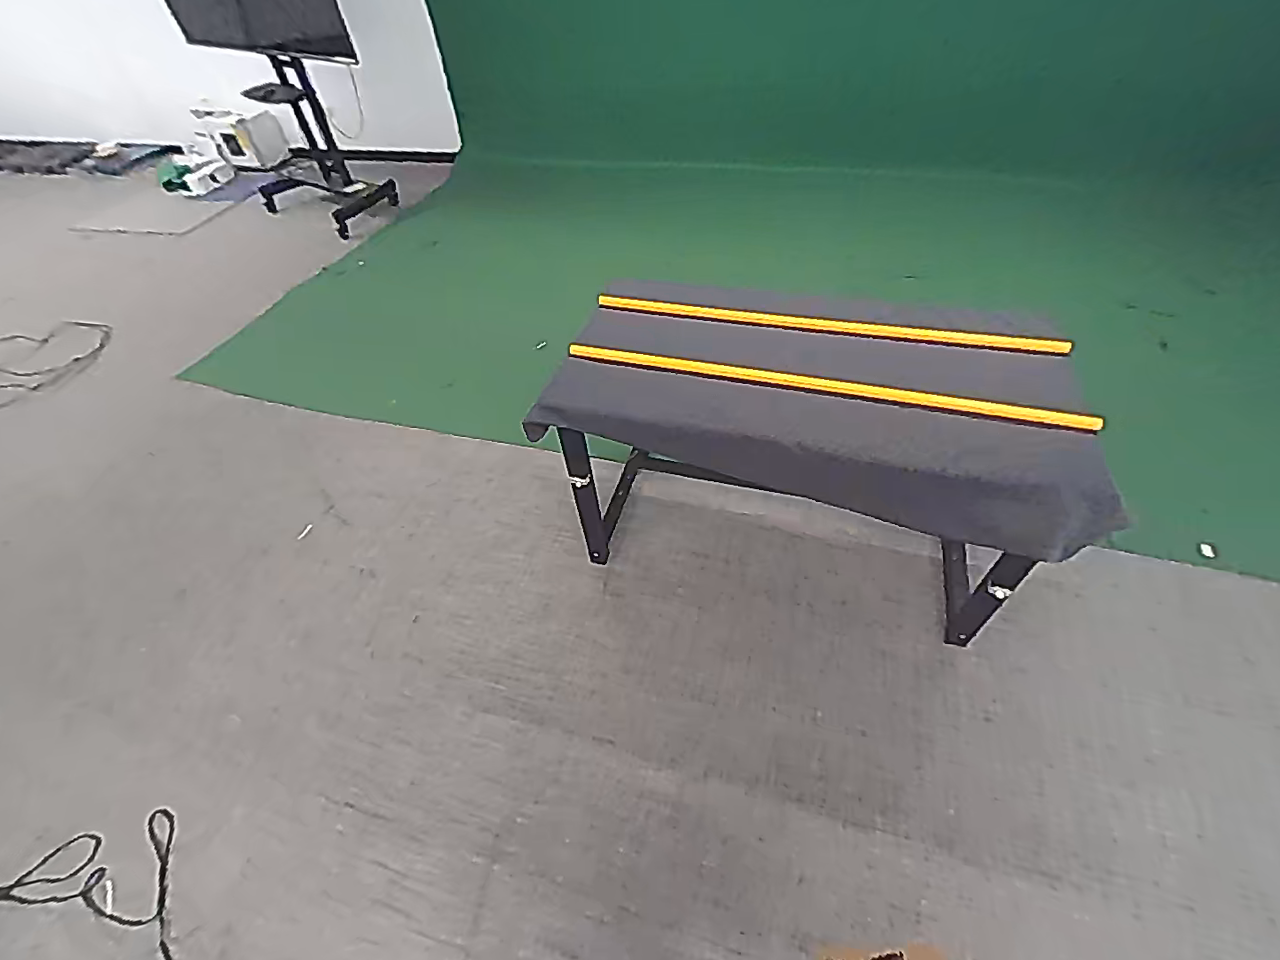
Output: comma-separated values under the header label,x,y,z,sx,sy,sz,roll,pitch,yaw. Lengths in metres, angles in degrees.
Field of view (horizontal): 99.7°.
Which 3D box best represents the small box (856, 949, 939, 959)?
label,x,y,z,sx,sy,sz,roll,pitch,yaw
small box,0.323,0.723,0.642,0.168,0.179,0.176,-12,88,5
